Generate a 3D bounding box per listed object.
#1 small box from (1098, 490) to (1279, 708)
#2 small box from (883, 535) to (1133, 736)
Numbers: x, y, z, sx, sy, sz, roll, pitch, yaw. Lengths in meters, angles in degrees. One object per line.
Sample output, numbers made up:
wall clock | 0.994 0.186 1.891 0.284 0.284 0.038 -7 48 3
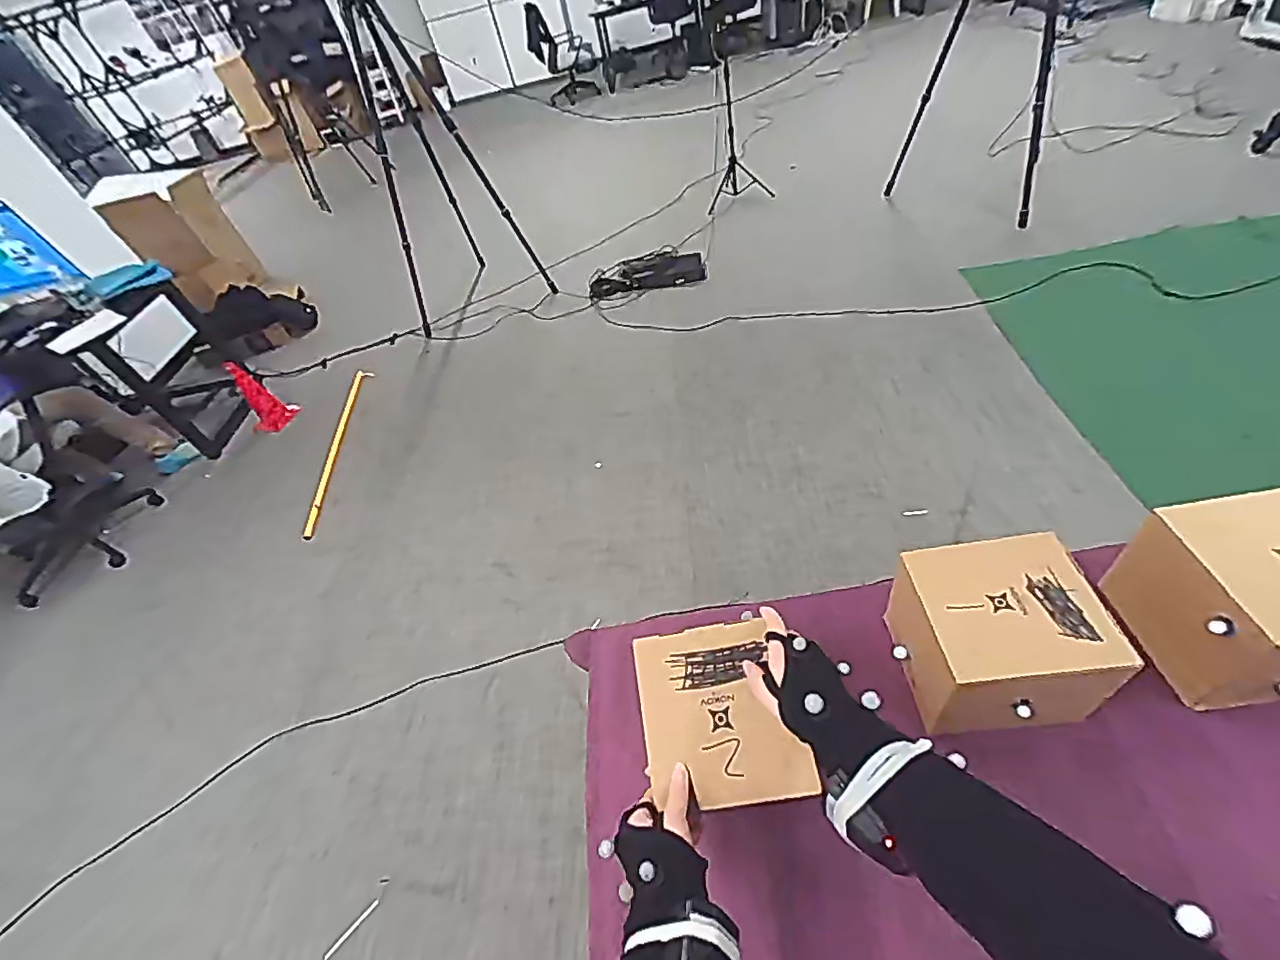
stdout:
small box | 0.688 0.138 0.621 0.168 0.176 0.179 -11 47 6
small box | 0.413 0.190 0.649 0.179 0.176 0.168 -10 46 8
